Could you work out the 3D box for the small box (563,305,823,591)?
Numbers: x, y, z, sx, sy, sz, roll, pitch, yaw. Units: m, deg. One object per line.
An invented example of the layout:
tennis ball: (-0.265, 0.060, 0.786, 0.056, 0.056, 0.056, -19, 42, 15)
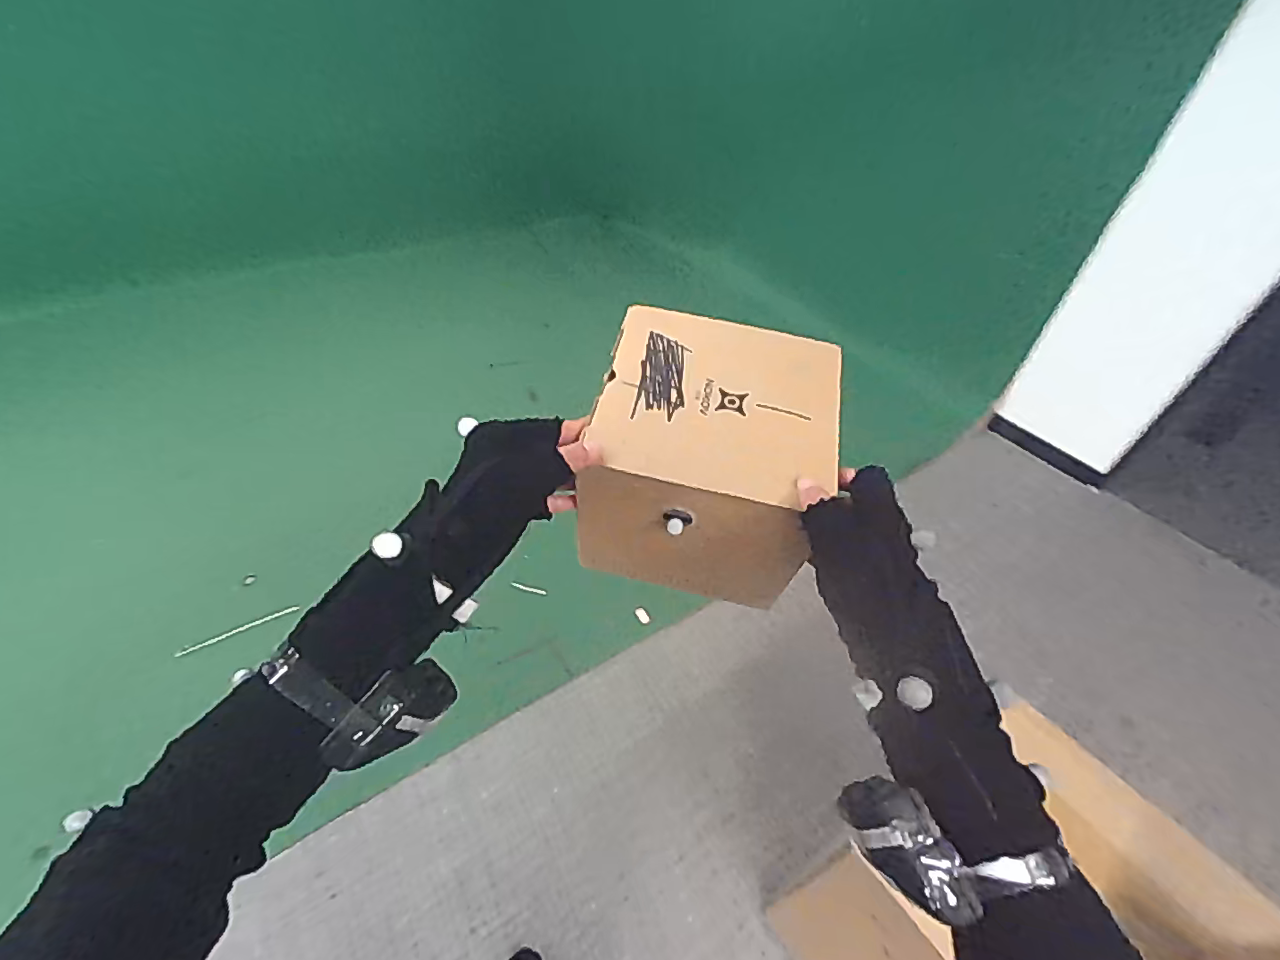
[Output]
small box: (0.043, -0.020, 0.470, 0.179, 0.176, 0.168, 12, 57, 4)
